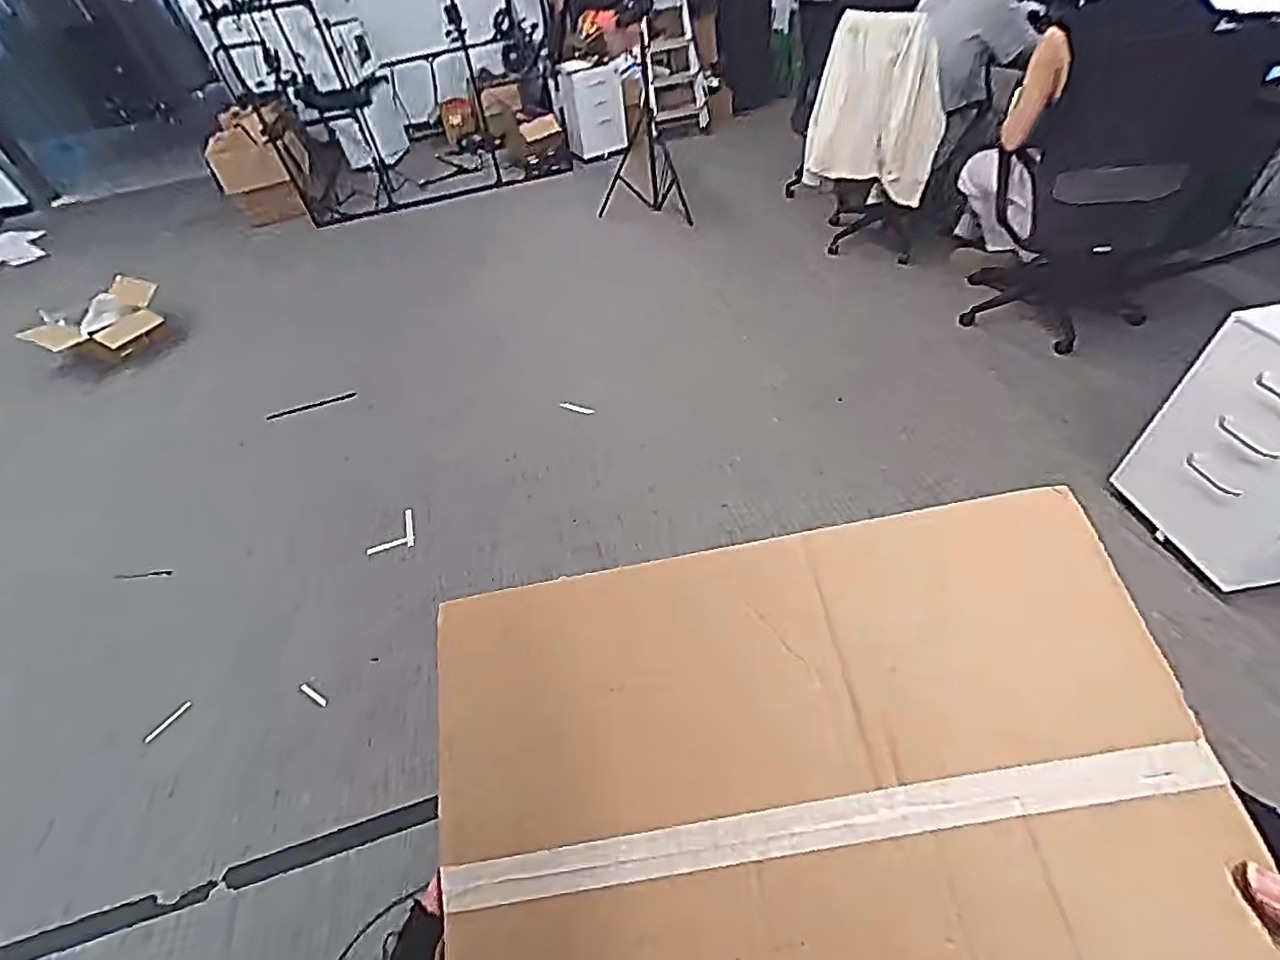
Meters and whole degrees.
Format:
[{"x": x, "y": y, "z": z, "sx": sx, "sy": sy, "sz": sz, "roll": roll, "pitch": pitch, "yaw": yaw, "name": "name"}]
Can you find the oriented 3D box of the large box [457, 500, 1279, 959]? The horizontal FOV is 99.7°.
[{"x": 0.113, "y": 0.249, "z": 0.426, "sx": 0.408, "sy": 0.320, "sz": 0.320, "roll": -12, "pitch": 66, "yaw": 3, "name": "large box"}]
